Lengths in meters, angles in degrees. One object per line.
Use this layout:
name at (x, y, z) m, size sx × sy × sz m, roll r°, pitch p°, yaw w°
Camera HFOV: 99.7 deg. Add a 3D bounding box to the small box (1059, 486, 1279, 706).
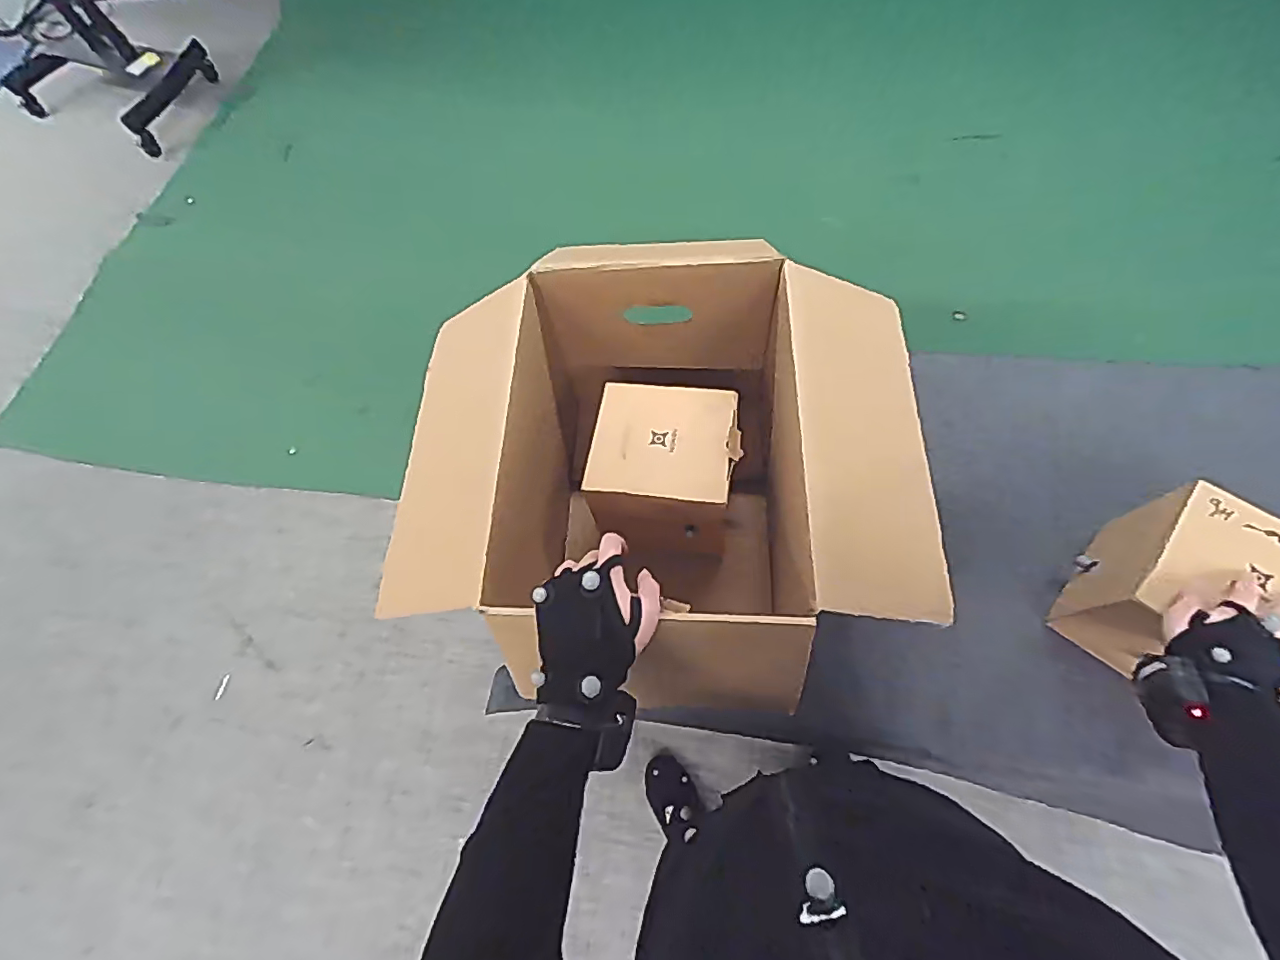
small box at (0.647, 0.145, 0.635) m, size 0.168 × 0.176 × 0.179 m, roll 37°, pitch 76°, yaw 20°
